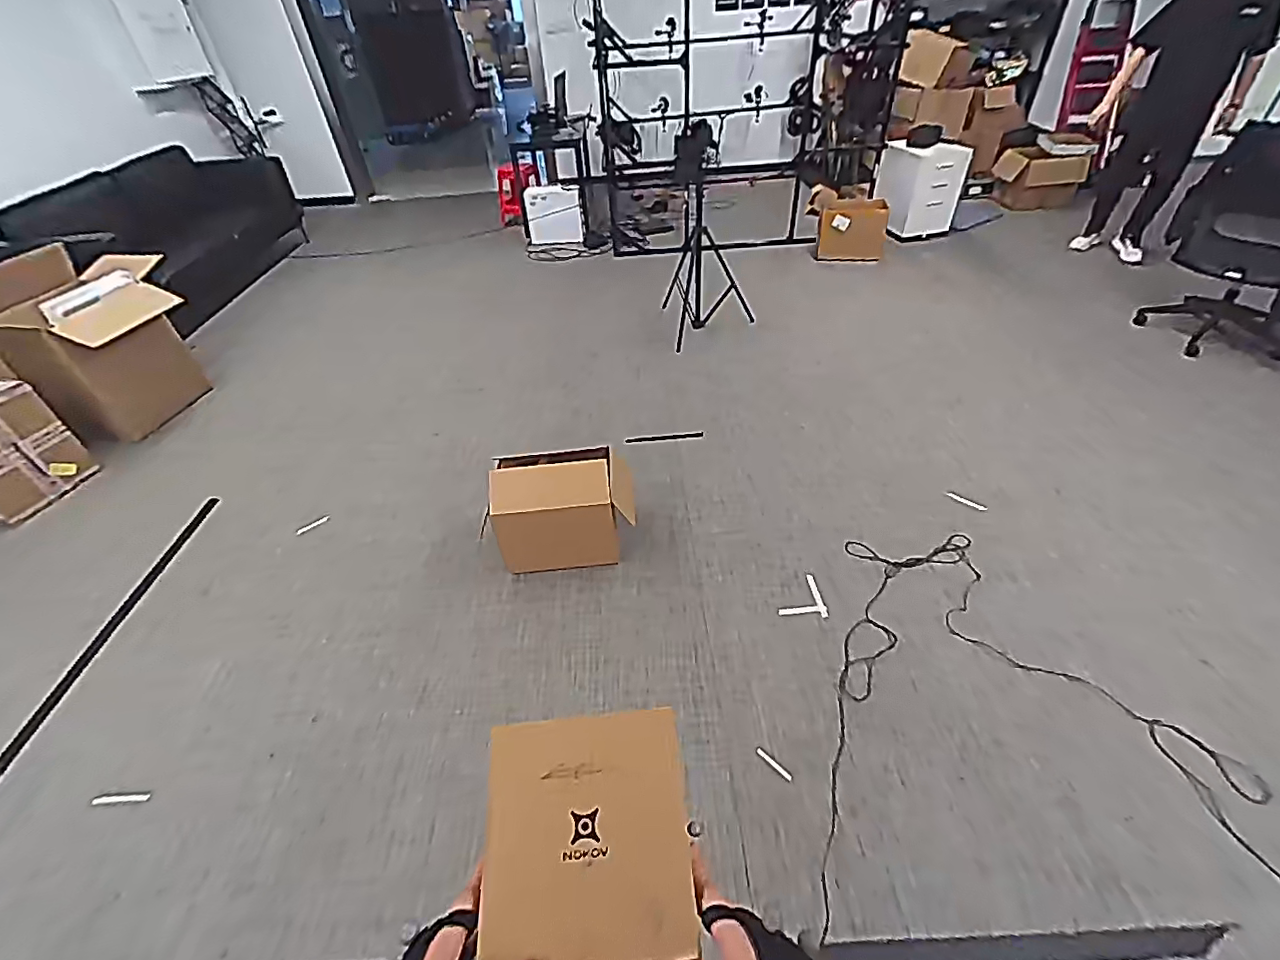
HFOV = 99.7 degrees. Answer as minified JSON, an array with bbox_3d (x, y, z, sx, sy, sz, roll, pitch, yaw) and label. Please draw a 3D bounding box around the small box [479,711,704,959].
[{"bbox_3d":[-0.038,0.328,0.492,0.168,0.176,0.179,-5,54,-2],"label":"small box"}]
